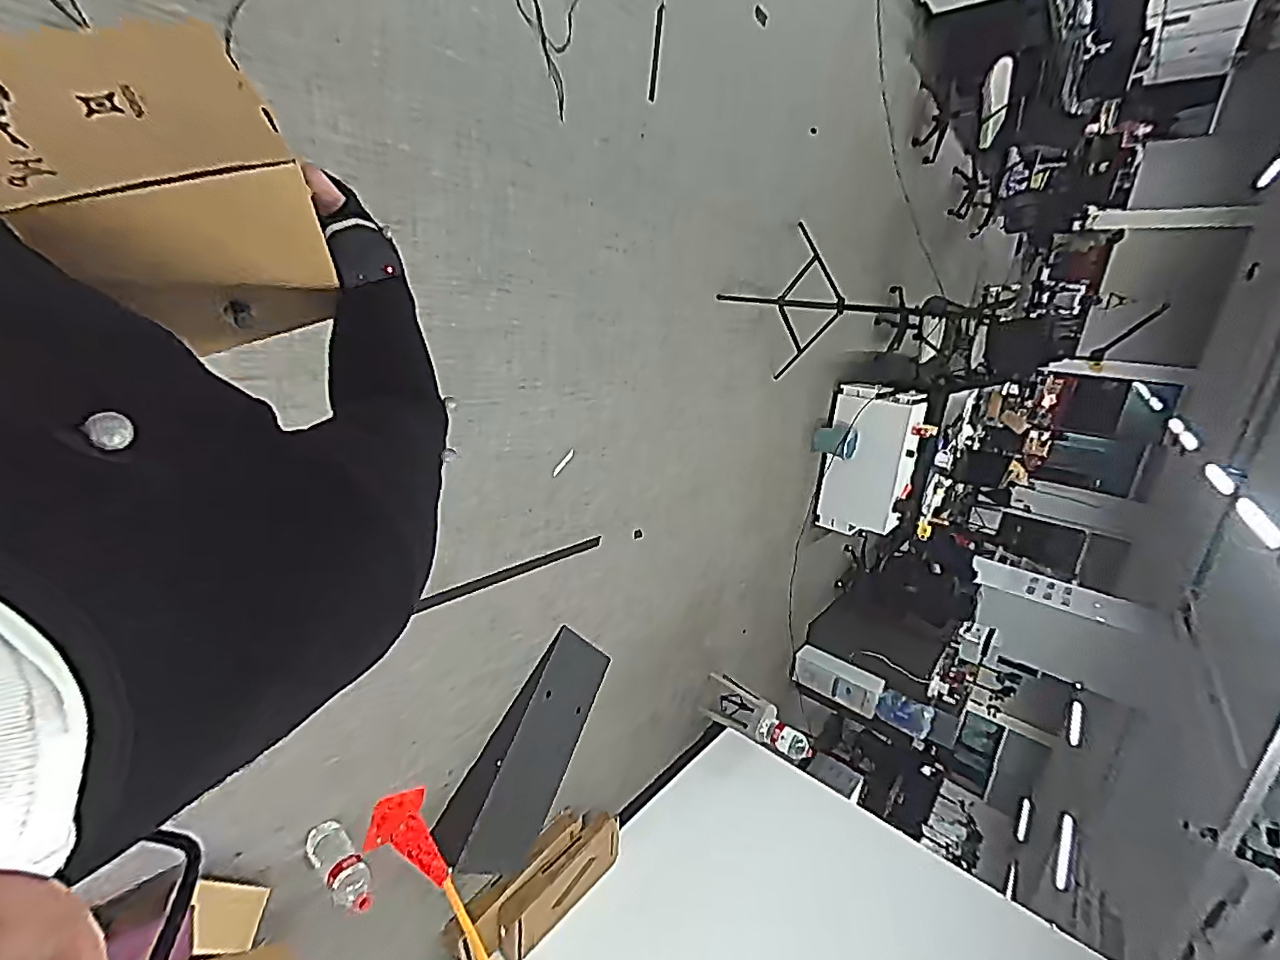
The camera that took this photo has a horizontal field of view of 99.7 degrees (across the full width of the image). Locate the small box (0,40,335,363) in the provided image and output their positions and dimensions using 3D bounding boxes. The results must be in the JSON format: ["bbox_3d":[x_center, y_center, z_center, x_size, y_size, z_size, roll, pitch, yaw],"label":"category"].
[{"bbox_3d":[-0.394,-0.235,0.471,0.179,0.168,0.176,-29,165,-26],"label":"small box"}]
